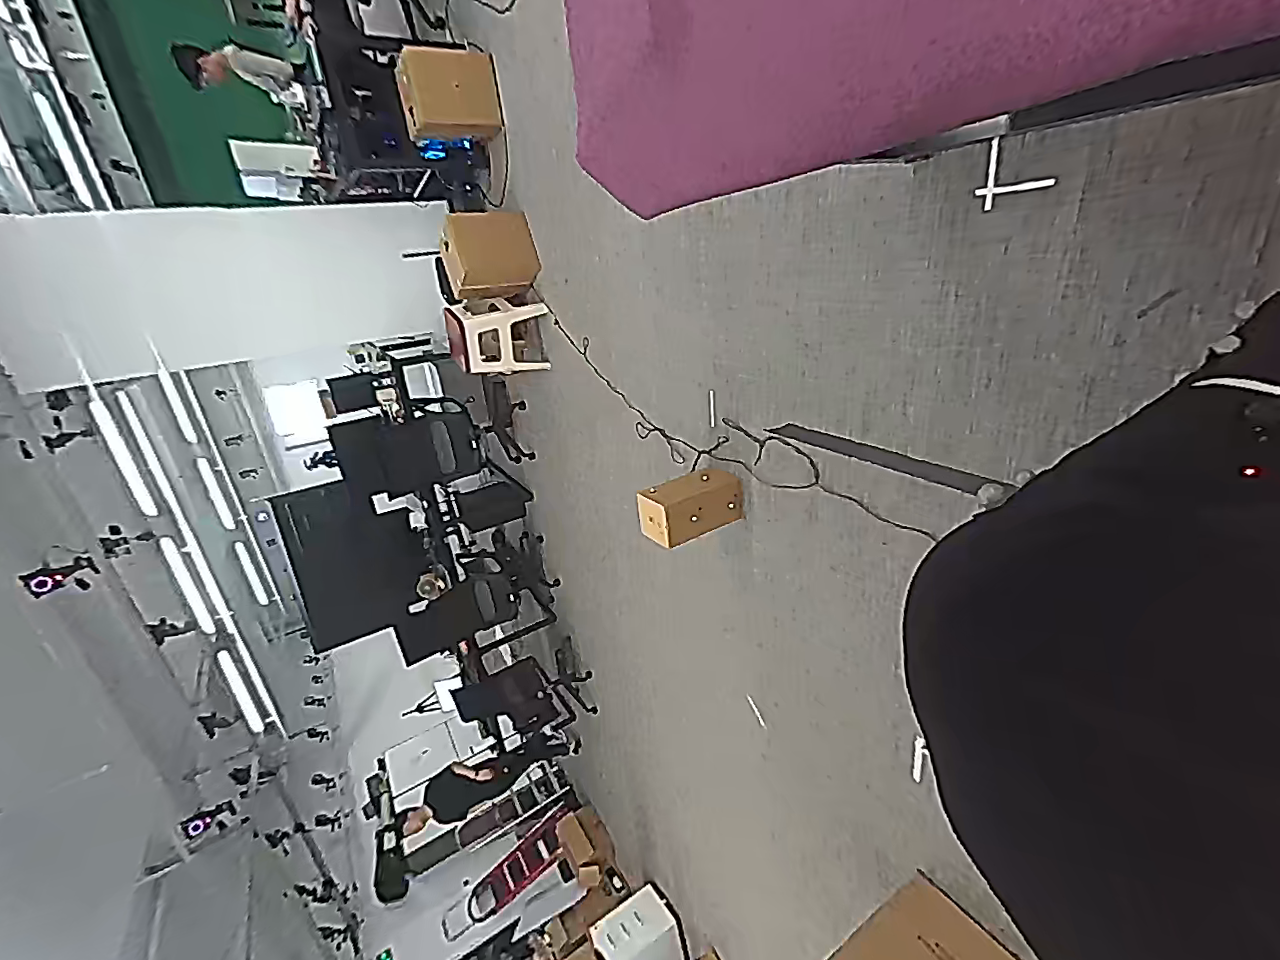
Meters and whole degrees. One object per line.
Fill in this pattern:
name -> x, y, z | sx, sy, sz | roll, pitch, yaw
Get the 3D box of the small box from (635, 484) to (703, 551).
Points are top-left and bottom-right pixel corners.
small box -> 0.104, 0.124, 1.907 | 0.179, 0.176, 0.168 | 24, 128, 54

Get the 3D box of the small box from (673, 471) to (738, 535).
small box -> 0.242, 0.078, 1.984 | 0.179, 0.176, 0.168 | 26, 129, 52
